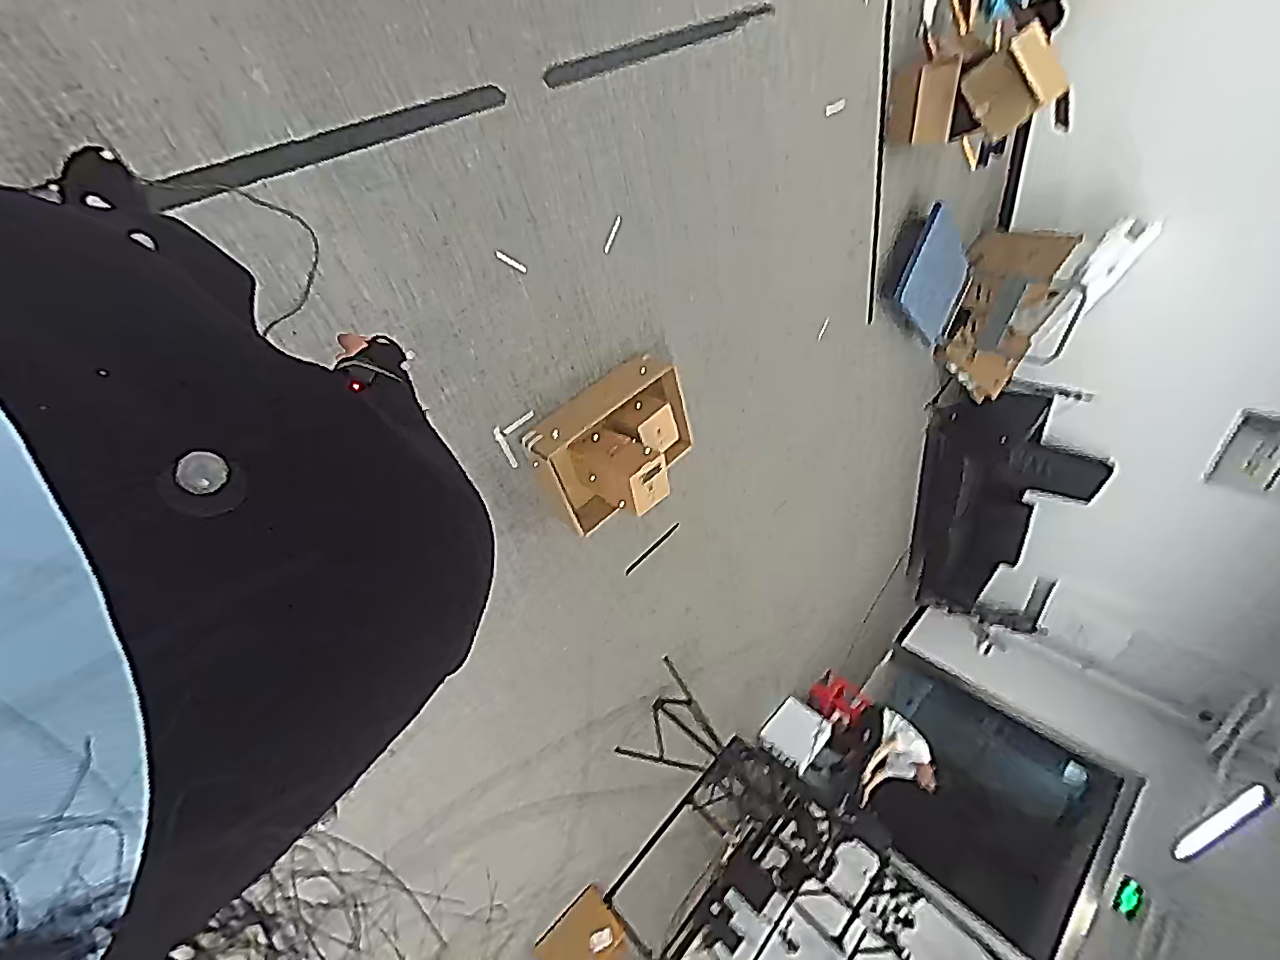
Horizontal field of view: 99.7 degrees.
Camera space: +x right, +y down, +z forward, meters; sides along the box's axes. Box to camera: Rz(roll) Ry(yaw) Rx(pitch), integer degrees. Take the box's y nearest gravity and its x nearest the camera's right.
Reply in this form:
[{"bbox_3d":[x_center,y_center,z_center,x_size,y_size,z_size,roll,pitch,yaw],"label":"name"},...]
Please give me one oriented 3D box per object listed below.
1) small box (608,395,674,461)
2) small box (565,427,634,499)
[{"bbox_3d":[0.001,-0.206,2.048,0.168,0.176,0.179,-40,135,-22],"label":"small box"},{"bbox_3d":[-0.148,-0.067,1.973,0.168,0.176,0.179,-38,133,-30],"label":"small box"}]
